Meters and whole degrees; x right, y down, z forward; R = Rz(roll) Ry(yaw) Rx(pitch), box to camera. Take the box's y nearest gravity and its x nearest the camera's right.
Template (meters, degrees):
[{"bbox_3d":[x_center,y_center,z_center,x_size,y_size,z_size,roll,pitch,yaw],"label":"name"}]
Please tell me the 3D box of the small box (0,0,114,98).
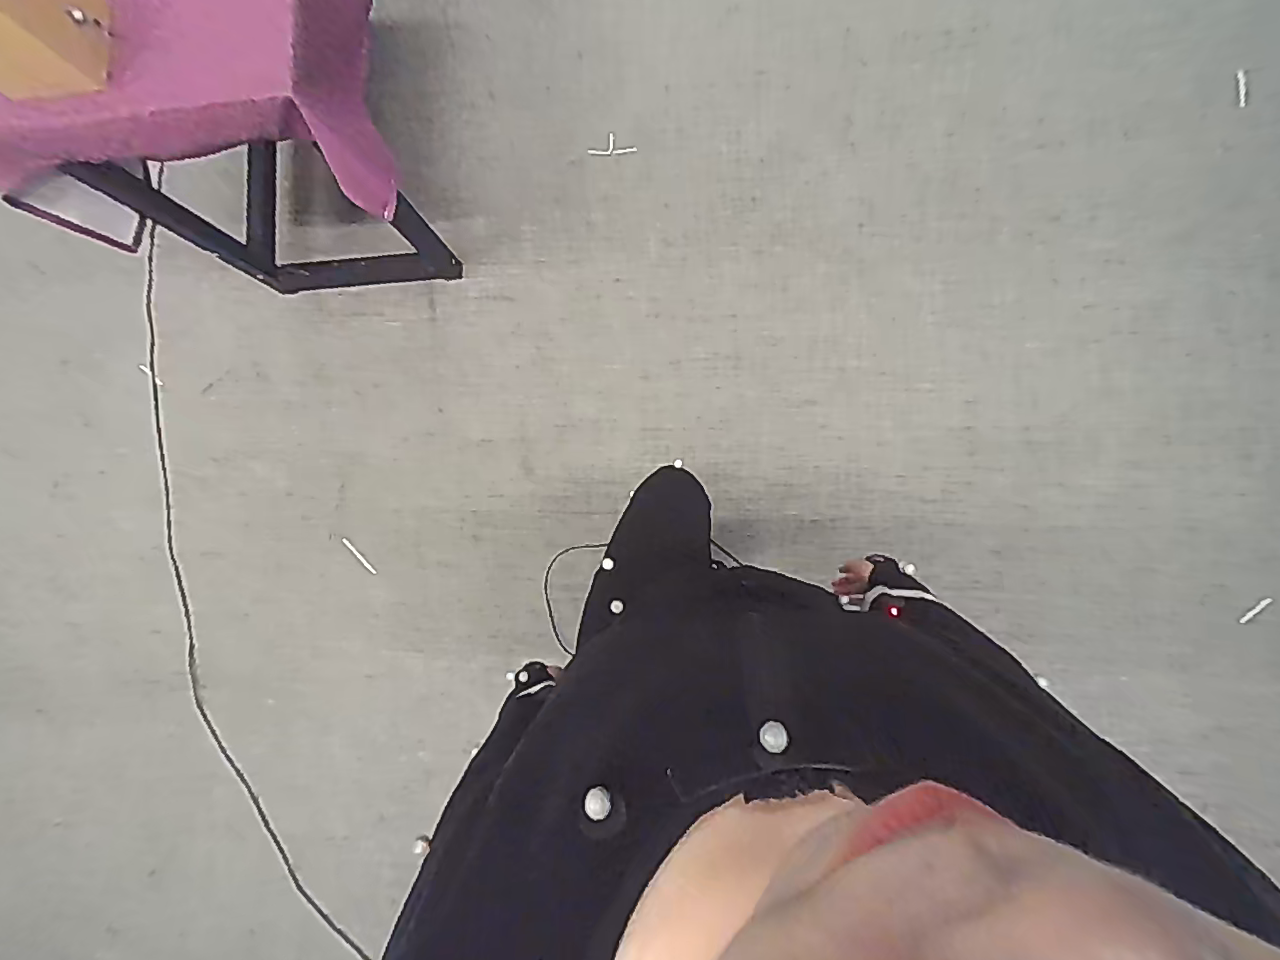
[{"bbox_3d":[-0.996,-0.740,0.848,0.179,0.176,0.168,-2,85,4],"label":"small box"}]
